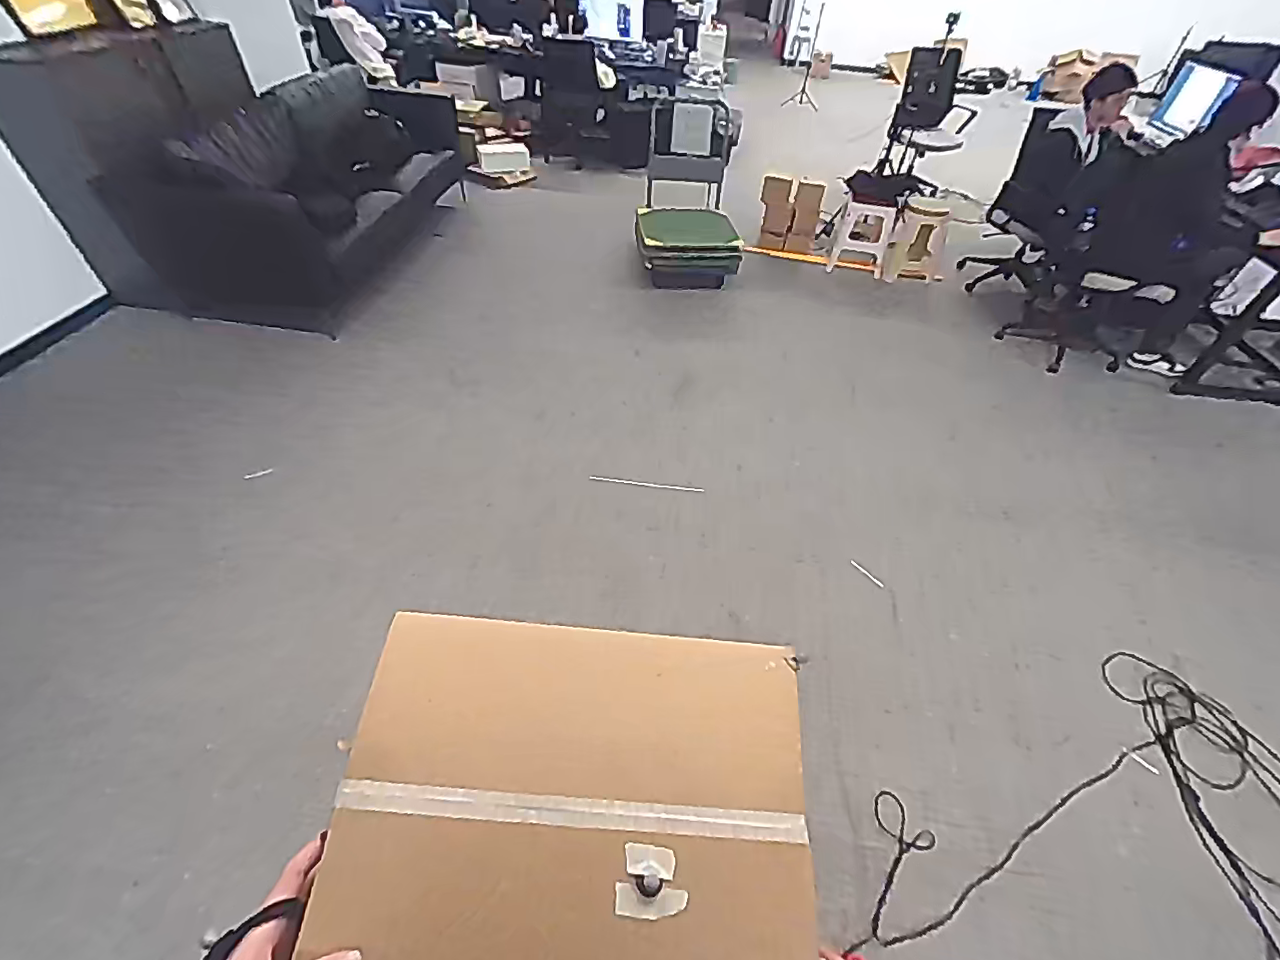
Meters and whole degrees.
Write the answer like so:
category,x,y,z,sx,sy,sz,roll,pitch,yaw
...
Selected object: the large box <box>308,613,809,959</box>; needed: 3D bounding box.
category,x,y,z,sx,sy,sz,roll,pitch,yaw
large box,-0.066,0.359,0.612,0.408,0.320,0.320,6,61,-2
